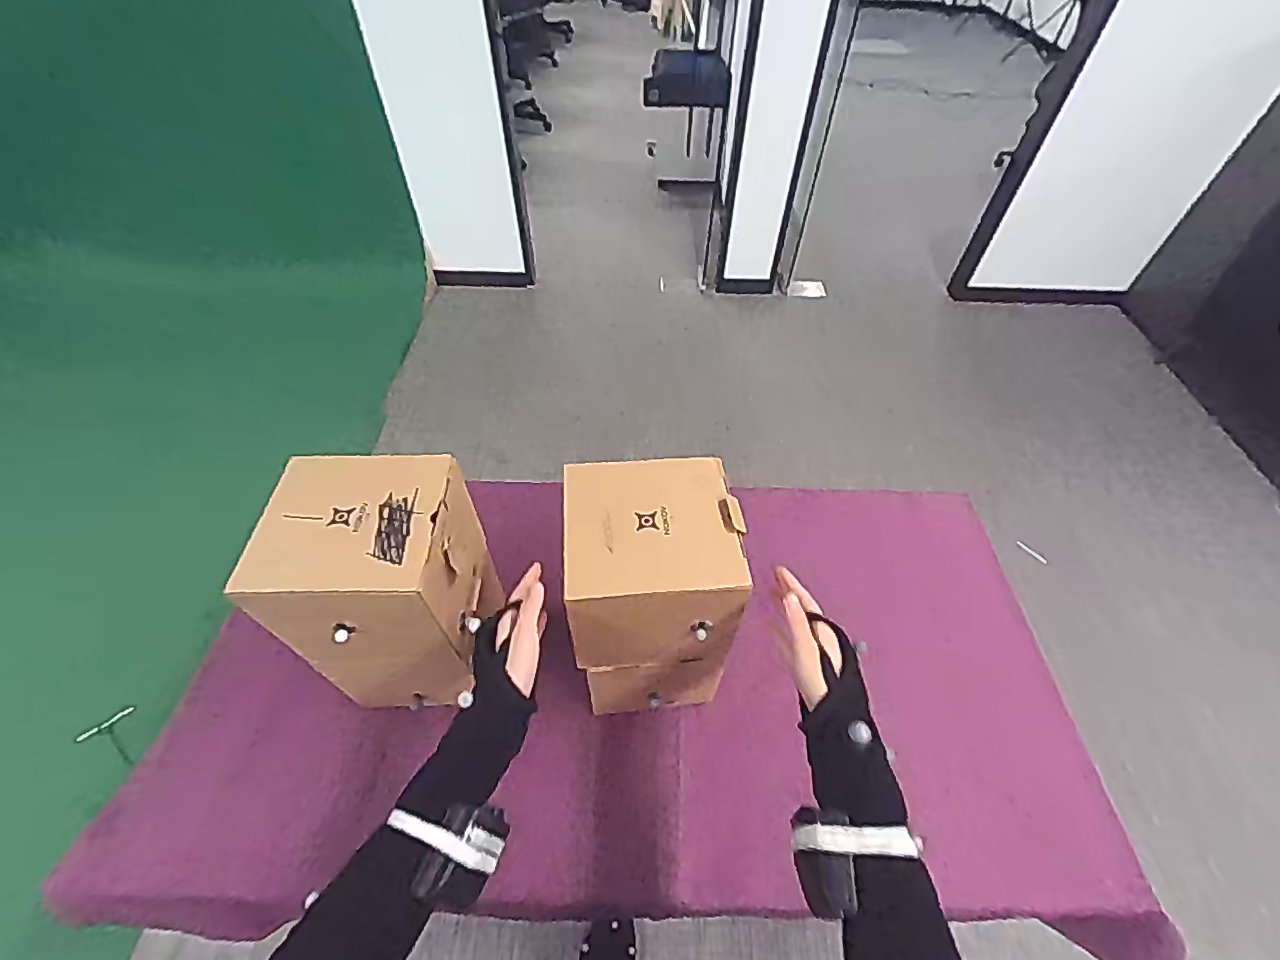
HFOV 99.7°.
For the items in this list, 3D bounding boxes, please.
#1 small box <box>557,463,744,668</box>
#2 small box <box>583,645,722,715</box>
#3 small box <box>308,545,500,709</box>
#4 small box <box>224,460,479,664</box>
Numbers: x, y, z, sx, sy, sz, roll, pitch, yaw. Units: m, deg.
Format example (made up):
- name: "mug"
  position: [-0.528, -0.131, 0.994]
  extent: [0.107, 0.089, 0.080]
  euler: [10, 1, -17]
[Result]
- name: "small box"
  position: [0.004, 0.098, 0.606]
  extent: [0.179, 0.176, 0.168]
  euler: [-3, 50, -3]
- name: "small box"
  position: [0.005, 0.199, 0.735]
  extent: [0.168, 0.176, 0.179]
  euler: [-5, 52, -4]
- name: "small box"
  position: [-0.295, 0.198, 0.727]
  extent: [0.179, 0.176, 0.168]
  euler: [0, 51, -2]
- name: "small box"
  position: [-0.291, 0.095, 0.599]
  extent: [0.179, 0.176, 0.168]
  euler: [-1, 51, -1]
